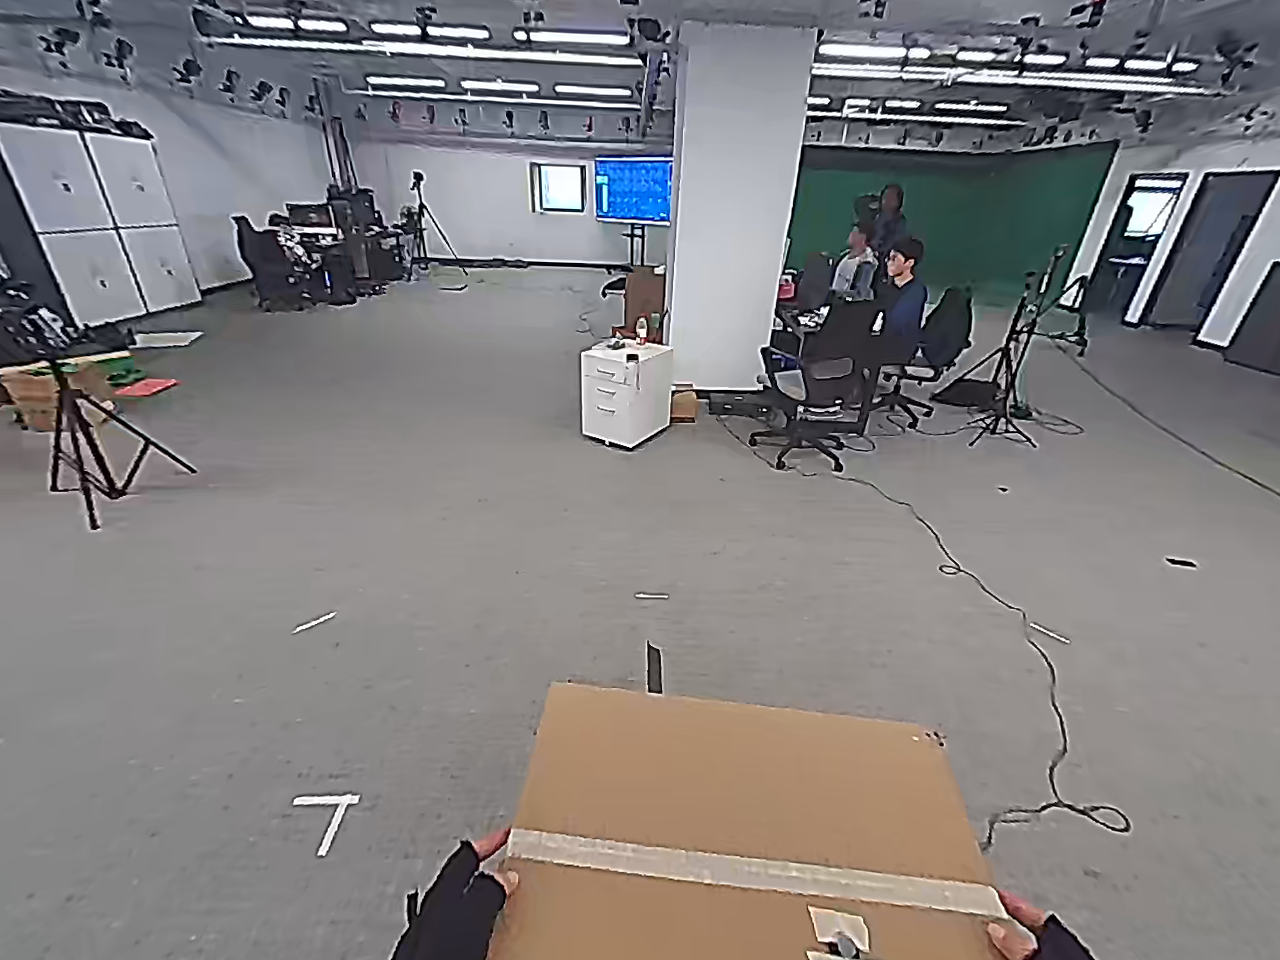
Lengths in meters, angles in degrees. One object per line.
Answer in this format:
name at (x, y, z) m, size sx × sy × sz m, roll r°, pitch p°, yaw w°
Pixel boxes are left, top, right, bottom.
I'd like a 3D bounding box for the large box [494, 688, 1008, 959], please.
large box at (0.083, 0.454, 0.545) m, size 0.408 × 0.320 × 0.320 m, roll 6°, pitch 36°, yaw 2°
